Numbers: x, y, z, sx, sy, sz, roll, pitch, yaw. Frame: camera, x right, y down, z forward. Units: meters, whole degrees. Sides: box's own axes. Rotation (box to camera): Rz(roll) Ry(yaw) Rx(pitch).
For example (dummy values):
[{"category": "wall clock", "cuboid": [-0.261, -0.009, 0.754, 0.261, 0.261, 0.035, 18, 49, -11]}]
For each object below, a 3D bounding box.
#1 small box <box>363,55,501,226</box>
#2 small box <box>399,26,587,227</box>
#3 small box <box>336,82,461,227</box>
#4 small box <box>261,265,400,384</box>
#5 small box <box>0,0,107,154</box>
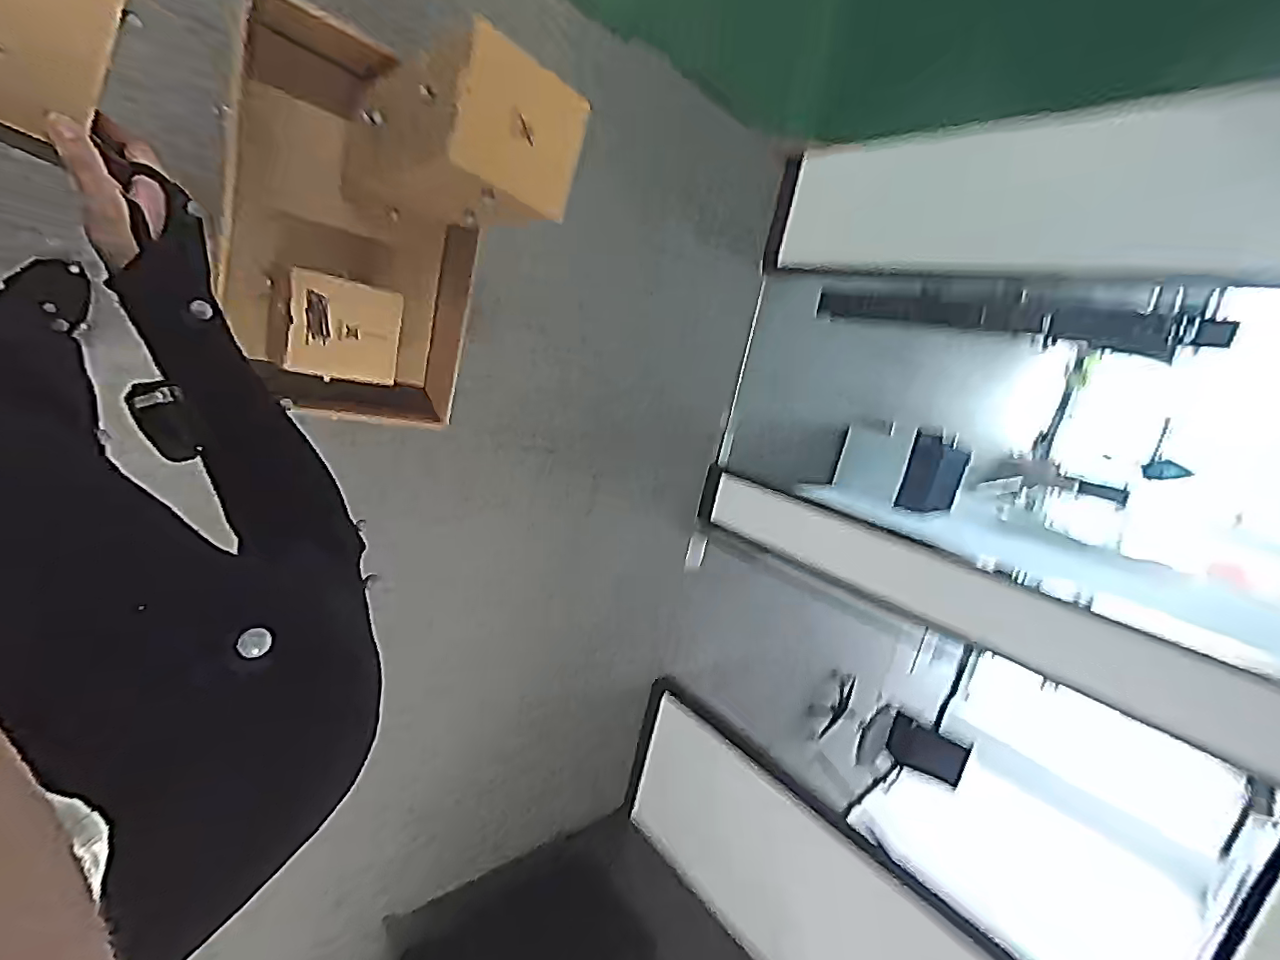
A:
[{"category": "small box", "cuboid": [-0.319, -0.532, 0.876, 0.179, 0.176, 0.168, 9, 101, -46]}, {"category": "small box", "cuboid": [-0.210, -0.480, 0.766, 0.179, 0.176, 0.168, 11, 100, -45]}, {"category": "small box", "cuboid": [-0.427, -0.579, 0.988, 0.179, 0.176, 0.168, 5, 103, -45]}, {"category": "small box", "cuboid": [-0.565, -0.280, 0.980, 0.179, 0.176, 0.168, 2, 106, -46]}, {"category": "small box", "cuboid": [-0.498, -0.361, 0.375, 0.168, 0.176, 0.179, 14, 97, -51]}]
